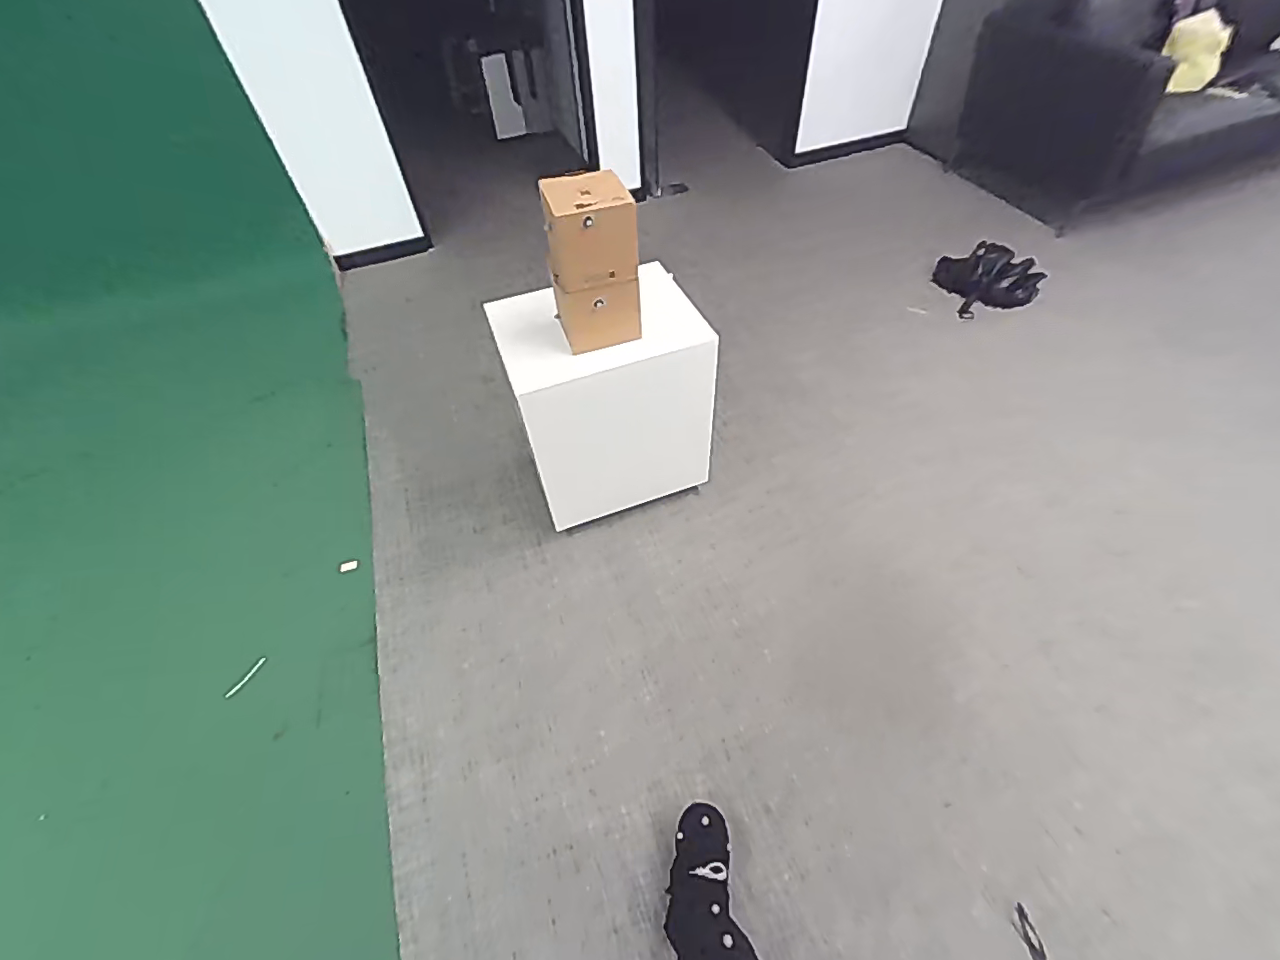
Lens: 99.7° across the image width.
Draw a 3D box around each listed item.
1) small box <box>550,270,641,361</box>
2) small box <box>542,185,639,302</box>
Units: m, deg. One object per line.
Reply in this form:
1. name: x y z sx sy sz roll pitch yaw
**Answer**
1. small box: -0.104 -0.412 1.310 0.179 0.176 0.168 -16 51 -10
2. small box: -0.107 -0.520 1.191 0.168 0.176 0.179 -17 52 -12
